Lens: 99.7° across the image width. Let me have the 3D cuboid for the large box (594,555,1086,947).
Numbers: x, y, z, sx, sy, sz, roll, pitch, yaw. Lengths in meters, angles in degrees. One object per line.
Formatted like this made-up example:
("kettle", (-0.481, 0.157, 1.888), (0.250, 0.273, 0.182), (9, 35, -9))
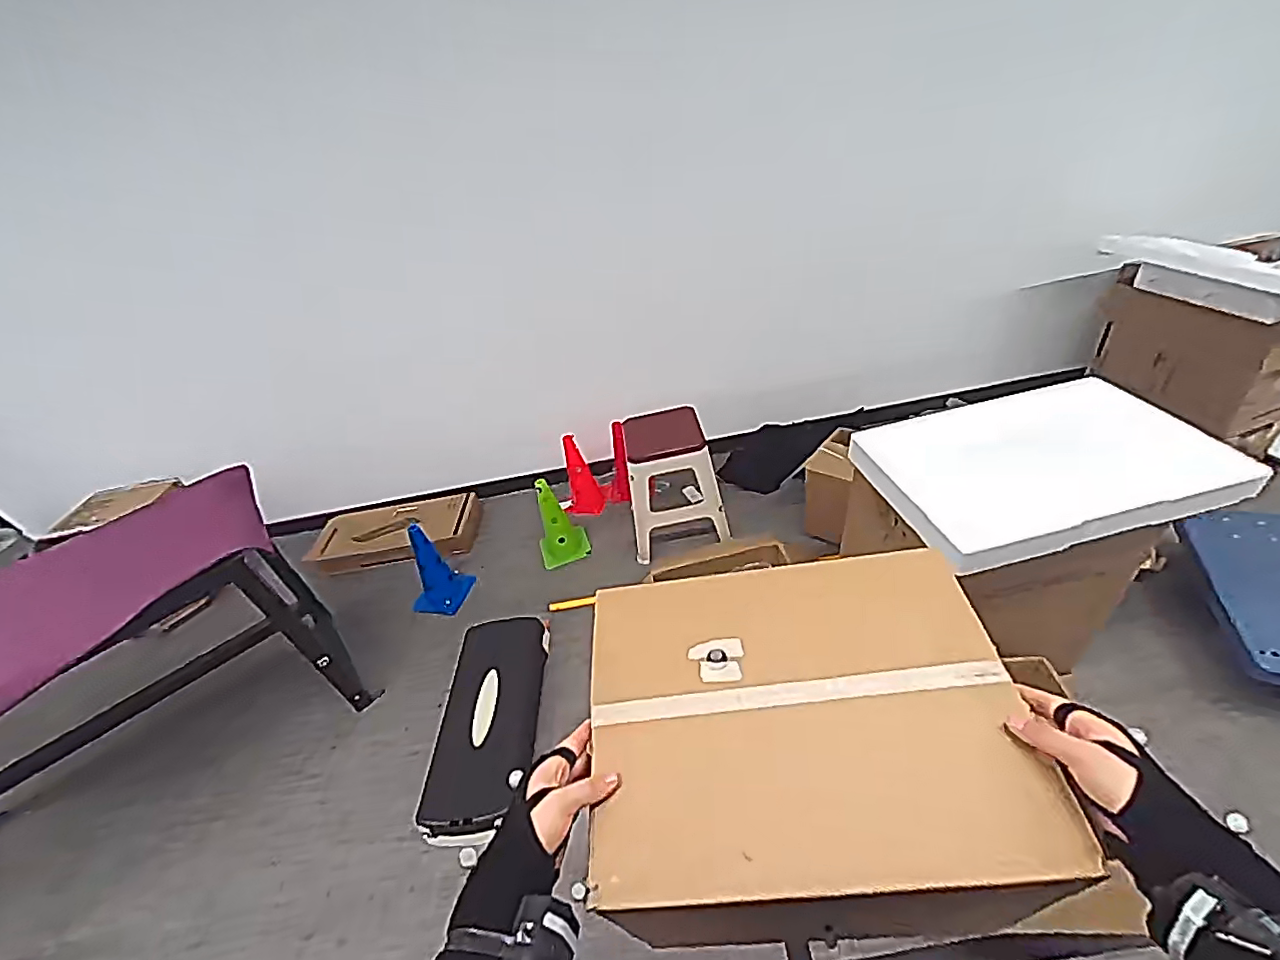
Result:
("large box", (0.178, 0.330, 0.647), (0.408, 0.320, 0.320), (-9, 43, 6))
